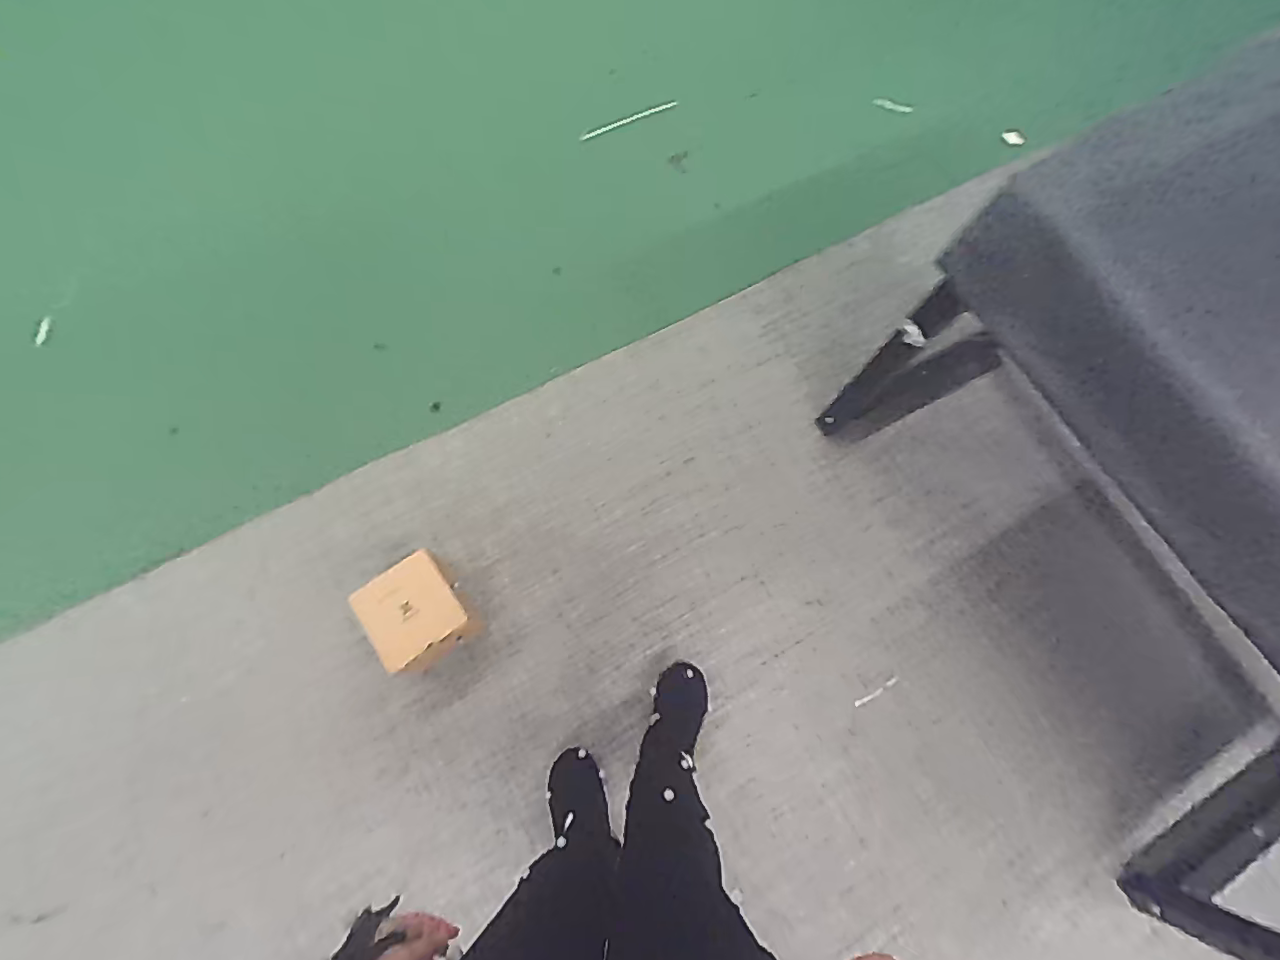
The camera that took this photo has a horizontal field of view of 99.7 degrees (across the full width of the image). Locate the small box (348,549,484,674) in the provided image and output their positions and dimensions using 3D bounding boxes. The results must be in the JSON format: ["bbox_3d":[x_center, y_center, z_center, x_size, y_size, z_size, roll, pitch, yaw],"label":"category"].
[{"bbox_3d":[-0.441,0.267,1.096,0.168,0.176,0.179,-35,77,-13],"label":"small box"}]
